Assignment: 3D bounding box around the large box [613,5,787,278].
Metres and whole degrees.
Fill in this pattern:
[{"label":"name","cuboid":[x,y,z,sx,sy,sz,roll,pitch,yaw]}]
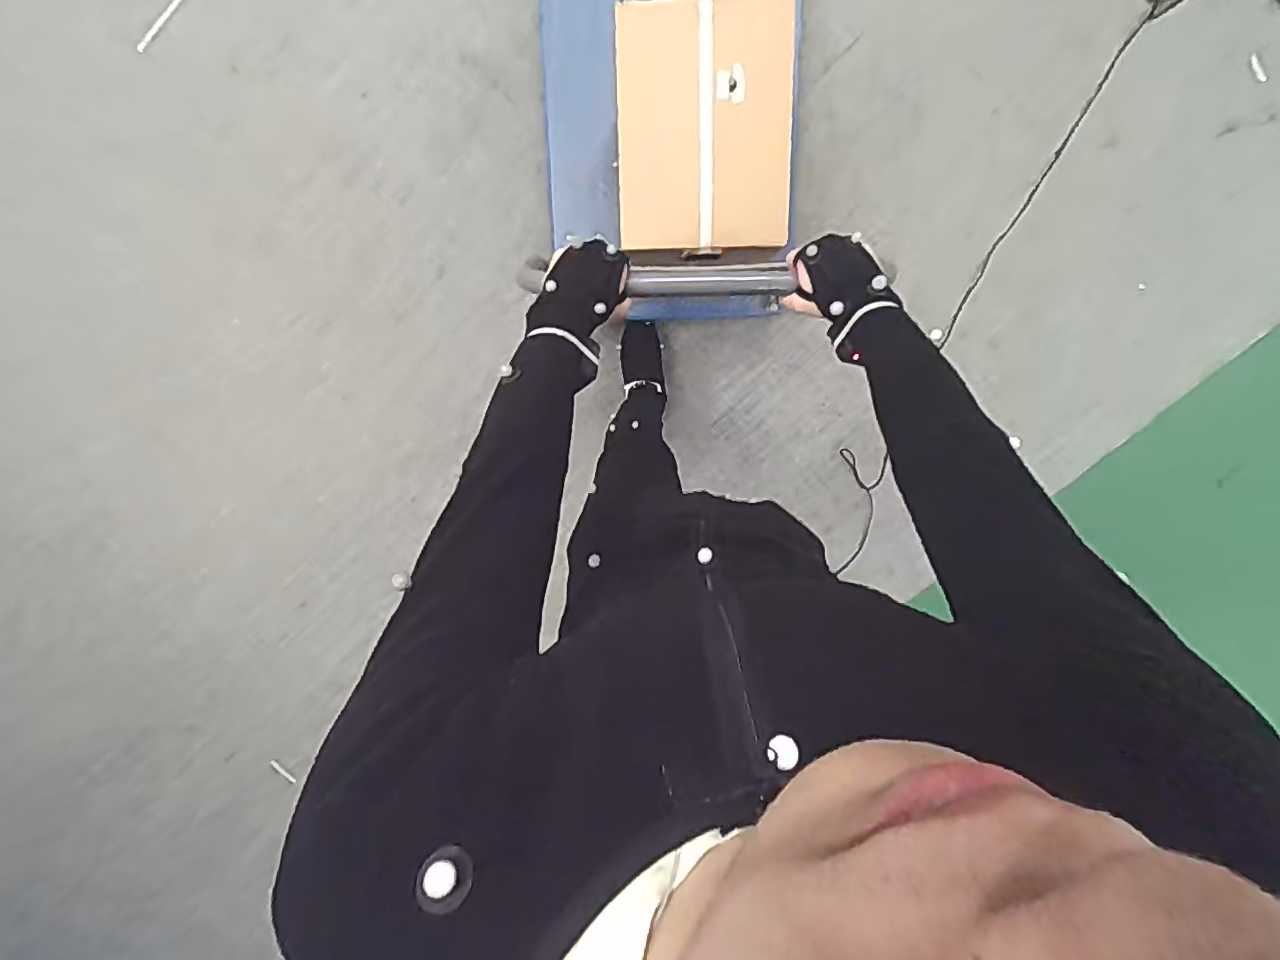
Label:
[{"label":"large box","cuboid":[0.115,-0.665,1.137,0.320,0.320,0.408,-1,101,0]}]
